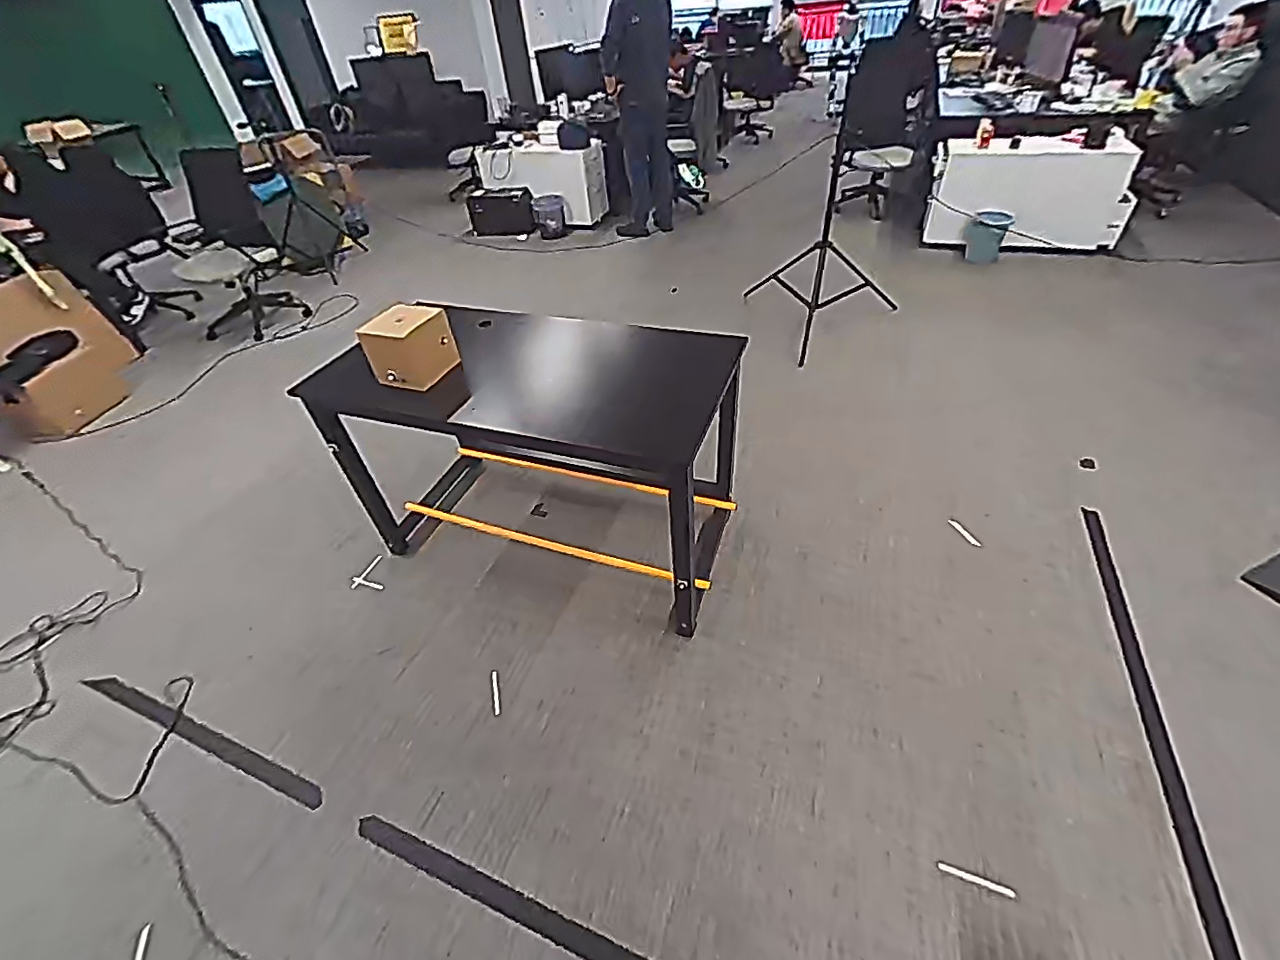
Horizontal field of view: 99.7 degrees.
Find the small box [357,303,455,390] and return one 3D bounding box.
[{"bbox_3d":[-0.644,-0.376,1.519,0.168,0.176,0.179,10,45,18],"label":"small box"}]
